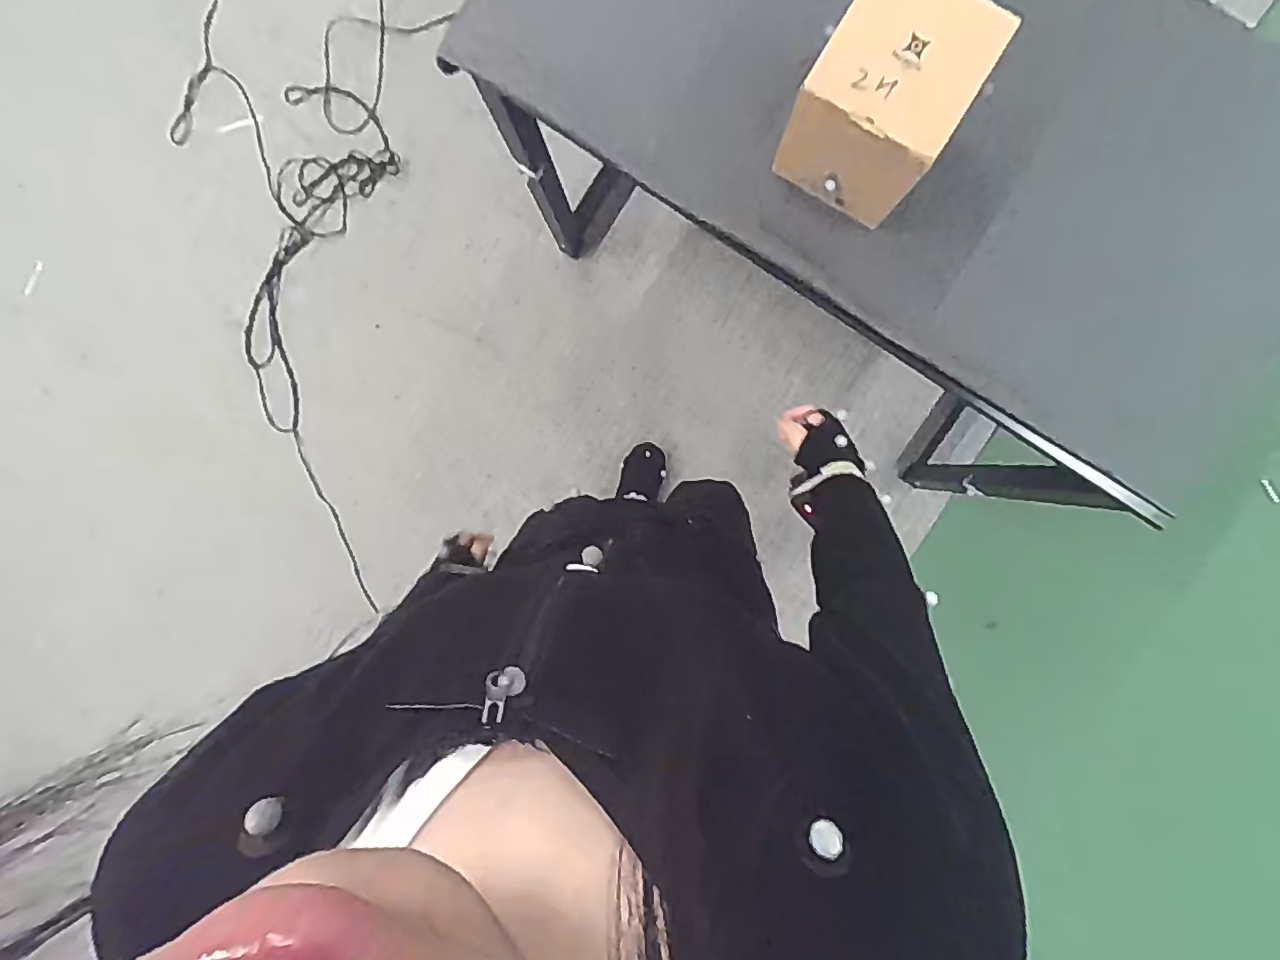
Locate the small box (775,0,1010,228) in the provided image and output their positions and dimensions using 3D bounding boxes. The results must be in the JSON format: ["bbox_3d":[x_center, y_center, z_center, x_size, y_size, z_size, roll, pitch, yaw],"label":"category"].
[{"bbox_3d":[0.287,-0.454,0.661,0.168,0.176,0.179,31,92,1],"label":"small box"}]
